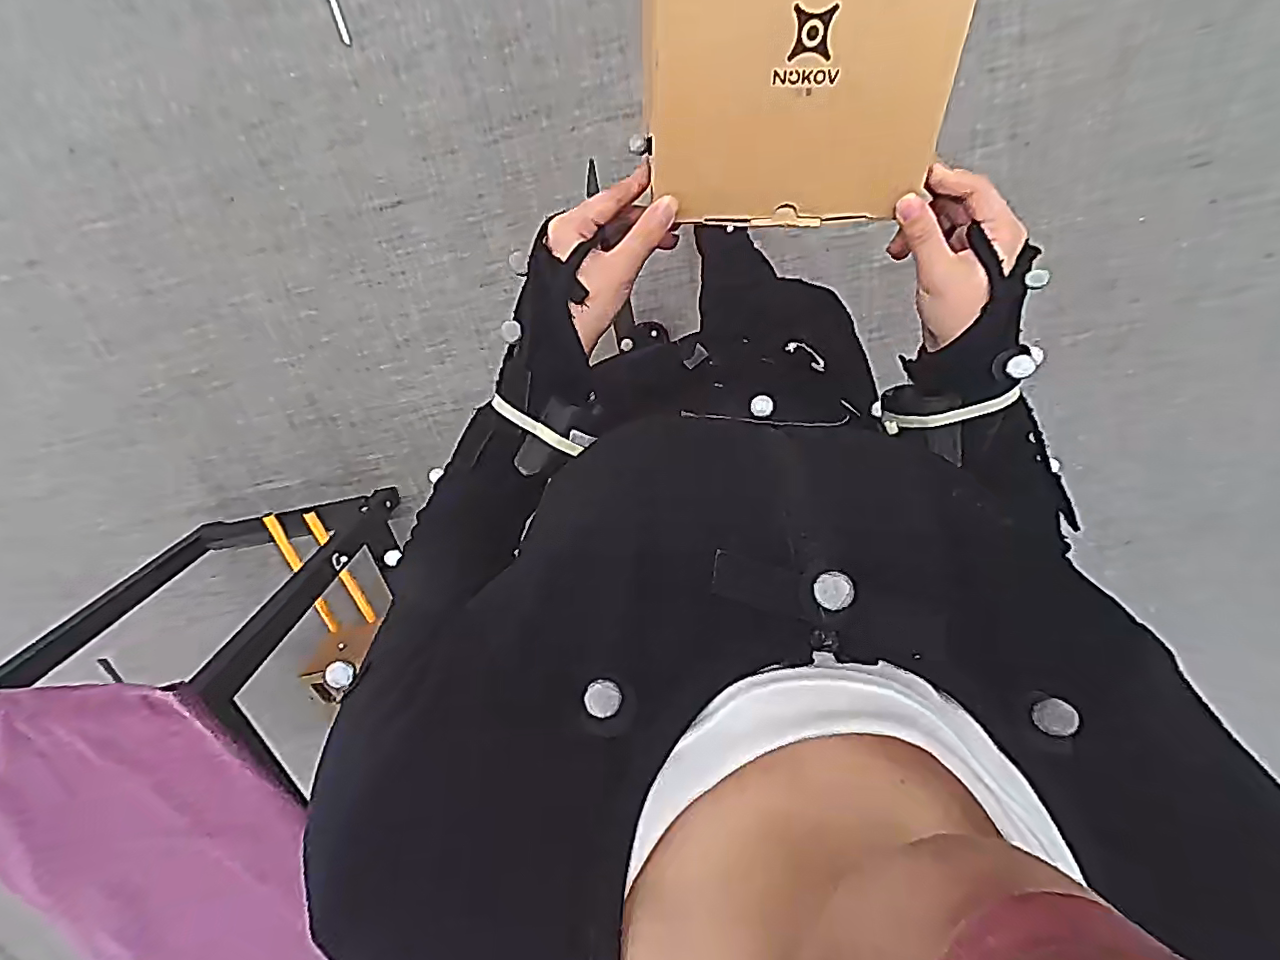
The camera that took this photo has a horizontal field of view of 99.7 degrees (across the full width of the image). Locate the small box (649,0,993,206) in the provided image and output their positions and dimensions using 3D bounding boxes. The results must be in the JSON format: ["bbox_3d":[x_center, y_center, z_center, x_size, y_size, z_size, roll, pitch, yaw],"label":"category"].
[{"bbox_3d":[0.092,-0.284,0.335,0.168,0.176,0.179,-2,129,-1],"label":"small box"}]

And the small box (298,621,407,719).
[{"bbox_3d":[-0.772,0.513,1.473,0.179,0.176,0.168,-14,116,3],"label":"small box"}]
